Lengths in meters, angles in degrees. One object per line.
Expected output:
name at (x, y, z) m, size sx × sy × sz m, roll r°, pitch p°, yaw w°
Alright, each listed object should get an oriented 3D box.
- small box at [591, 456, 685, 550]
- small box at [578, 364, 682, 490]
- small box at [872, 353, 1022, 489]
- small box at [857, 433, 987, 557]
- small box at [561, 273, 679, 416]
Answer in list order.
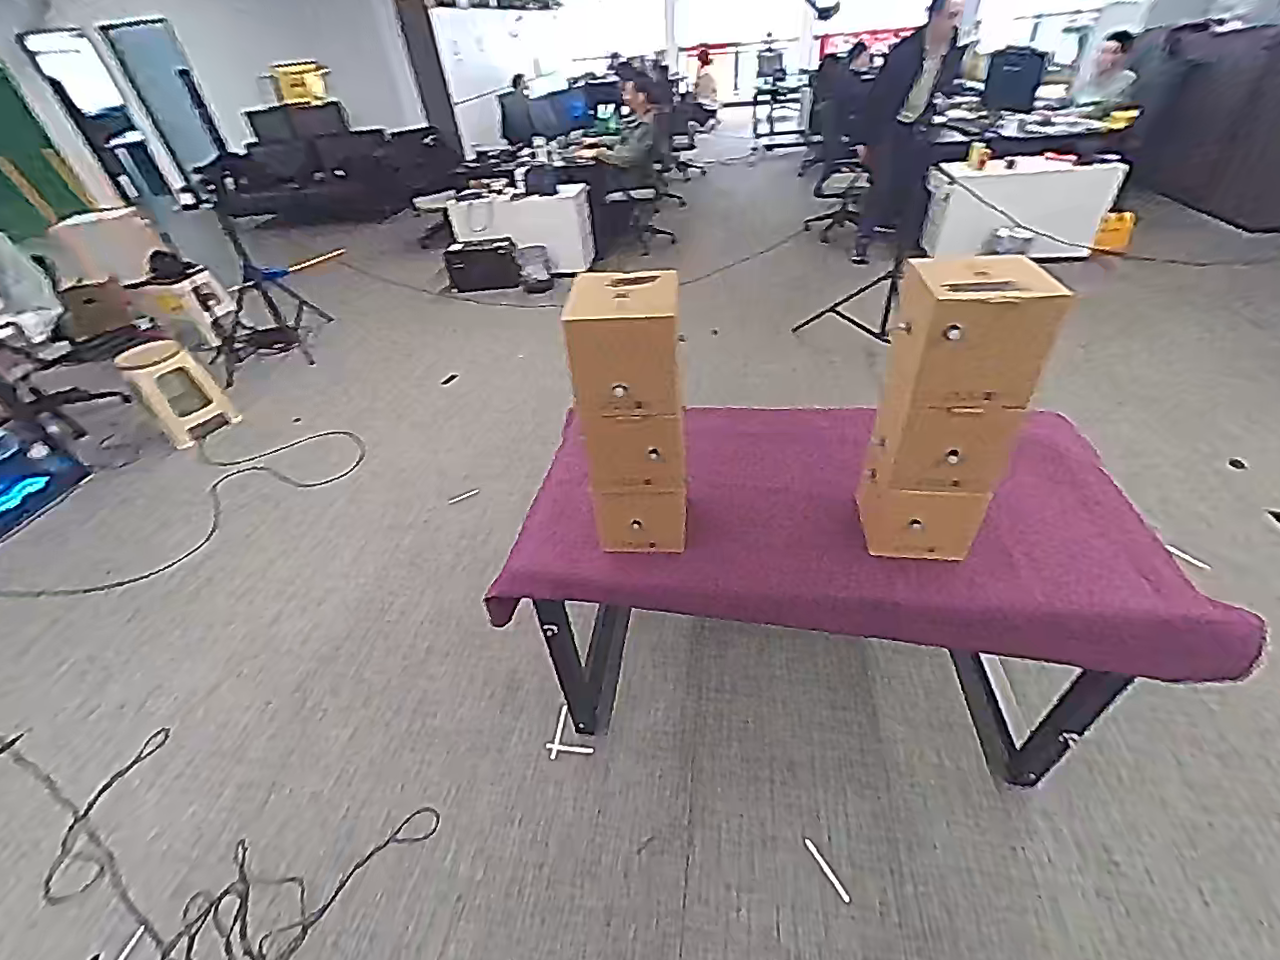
small box at (0.004, 0.025, 1.089) m, size 0.168 × 0.176 × 0.179 m, roll 0°, pitch 39°, yaw 6°
small box at (-0.008, -0.094, 0.979) m, size 0.168 × 0.176 × 0.179 m, roll -1°, pitch 39°, yaw 5°
small box at (0.507, -0.100, 0.924) m, size 0.168 × 0.176 × 0.179 m, roll 2°, pitch 41°, yaw 10°
small box at (0.520, 0.028, 1.025) m, size 0.168 × 0.176 × 0.179 m, roll 2°, pitch 40°, yaw 10°
small box at (-0.023, -0.220, 0.874) m, size 0.168 × 0.176 × 0.179 m, roll -1°, pitch 41°, yaw 5°
